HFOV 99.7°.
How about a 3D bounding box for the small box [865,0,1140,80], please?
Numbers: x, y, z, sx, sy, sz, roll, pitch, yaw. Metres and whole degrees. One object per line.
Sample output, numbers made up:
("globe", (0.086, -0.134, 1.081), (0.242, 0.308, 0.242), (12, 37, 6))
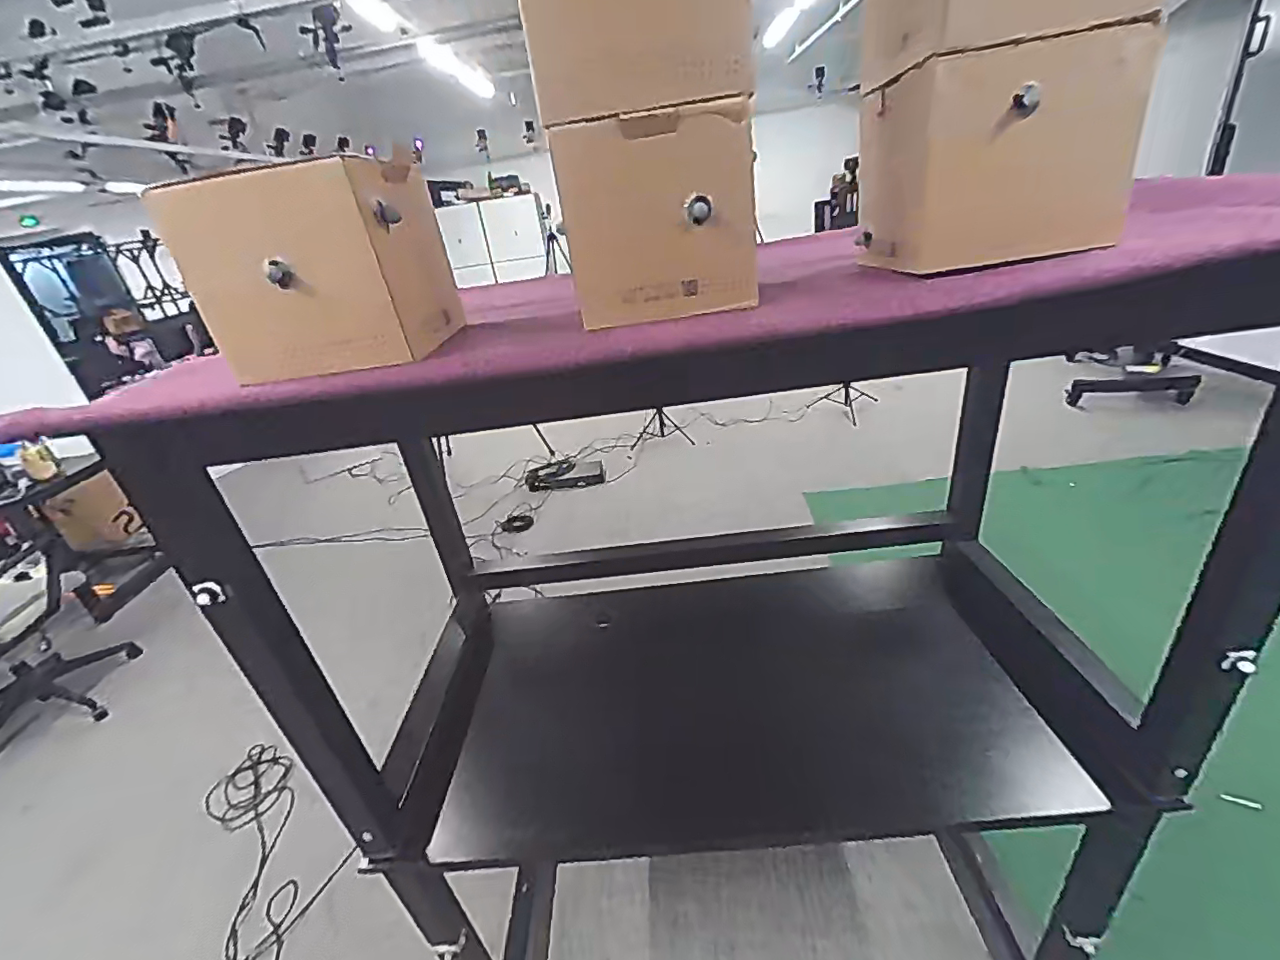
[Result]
("small box", (0.301, -0.456, 0.454), (0.179, 0.176, 0.168), (-7, 25, 4))

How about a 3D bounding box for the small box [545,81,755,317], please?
("small box", (0.018, -0.262, 0.533), (0.168, 0.176, 0.179), (-5, 27, 5))

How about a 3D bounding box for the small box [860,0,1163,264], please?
("small box", (0.327, -0.309, 0.518), (0.179, 0.176, 0.168), (-7, 25, 4))

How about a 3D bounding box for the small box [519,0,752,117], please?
("small box", (-0.005, -0.408, 0.458), (0.179, 0.176, 0.168), (-5, 28, 5))
